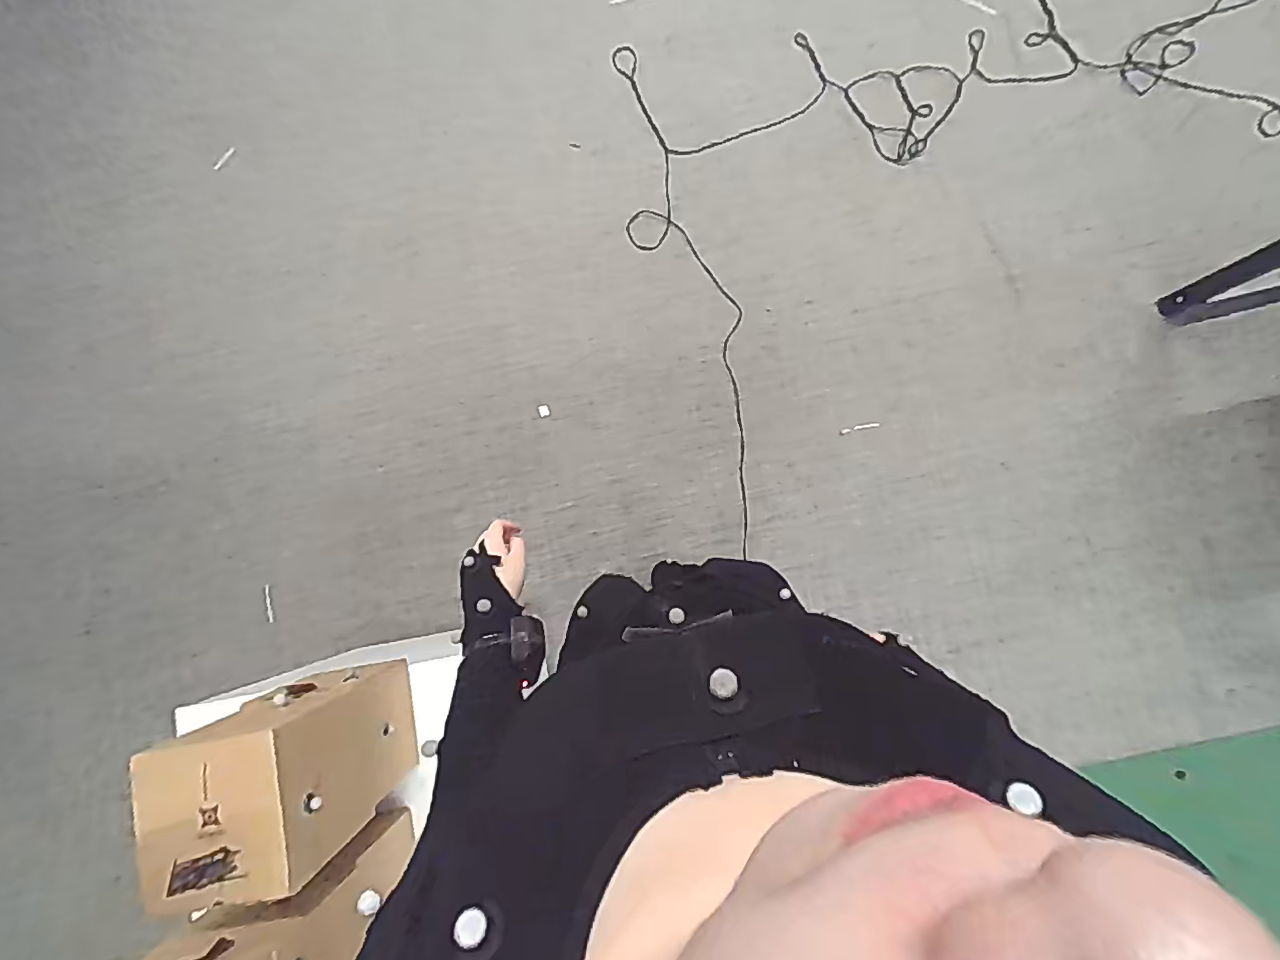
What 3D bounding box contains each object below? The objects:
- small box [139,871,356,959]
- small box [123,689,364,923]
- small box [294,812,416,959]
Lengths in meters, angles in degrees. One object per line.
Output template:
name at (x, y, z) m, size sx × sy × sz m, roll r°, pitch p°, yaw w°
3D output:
small box at (-0.449, 0.599, 0.622) m, size 0.168 × 0.176 × 0.179 m, roll -10°, pitch 80°, yaw 1°
small box at (-0.459, 0.374, 0.651) m, size 0.168 × 0.176 × 0.179 m, roll -11°, pitch 83°, yaw 1°
small box at (-0.445, 0.624, 0.784) m, size 0.168 × 0.176 × 0.179 m, roll -12°, pitch 80°, yaw 0°
